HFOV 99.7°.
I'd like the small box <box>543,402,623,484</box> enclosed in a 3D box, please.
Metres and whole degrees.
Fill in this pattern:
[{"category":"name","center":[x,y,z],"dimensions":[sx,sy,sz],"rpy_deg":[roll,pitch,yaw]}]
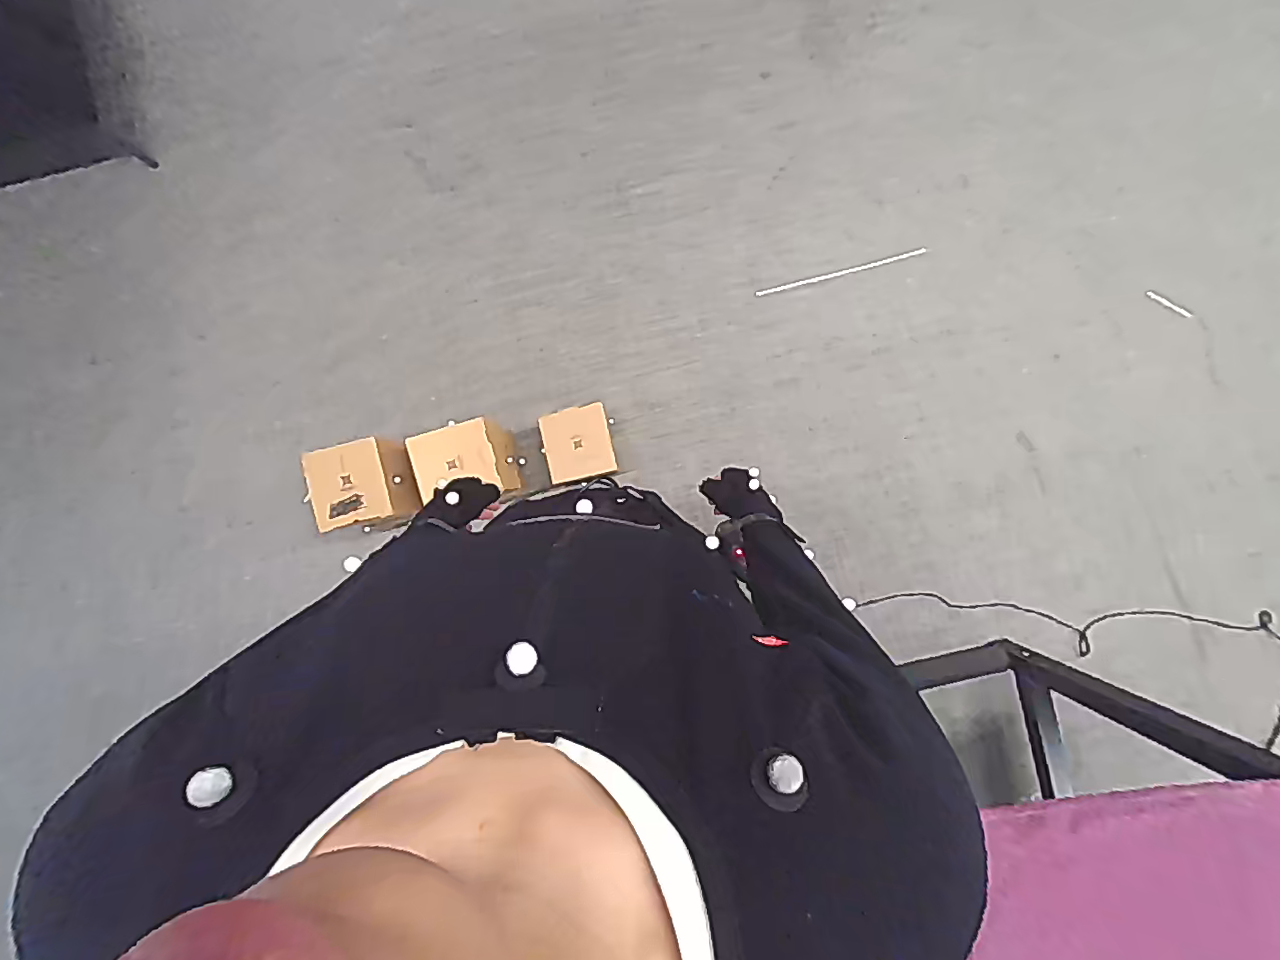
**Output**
[{"category":"small box","center":[-0.141,-0.089,1.402],"dimensions":[0.168,0.176,0.179],"rpy_deg":[-13,90,0]}]

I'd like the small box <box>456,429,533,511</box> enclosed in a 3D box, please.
[{"category":"small box","center":[-0.390,-0.023,1.400],"dimensions":[0.168,0.176,0.179],"rpy_deg":[-16,88,1]}]

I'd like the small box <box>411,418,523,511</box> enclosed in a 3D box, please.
[{"category":"small box","center":[-0.387,-0.031,1.238],"dimensions":[0.179,0.176,0.168],"rpy_deg":[-17,90,0]}]
